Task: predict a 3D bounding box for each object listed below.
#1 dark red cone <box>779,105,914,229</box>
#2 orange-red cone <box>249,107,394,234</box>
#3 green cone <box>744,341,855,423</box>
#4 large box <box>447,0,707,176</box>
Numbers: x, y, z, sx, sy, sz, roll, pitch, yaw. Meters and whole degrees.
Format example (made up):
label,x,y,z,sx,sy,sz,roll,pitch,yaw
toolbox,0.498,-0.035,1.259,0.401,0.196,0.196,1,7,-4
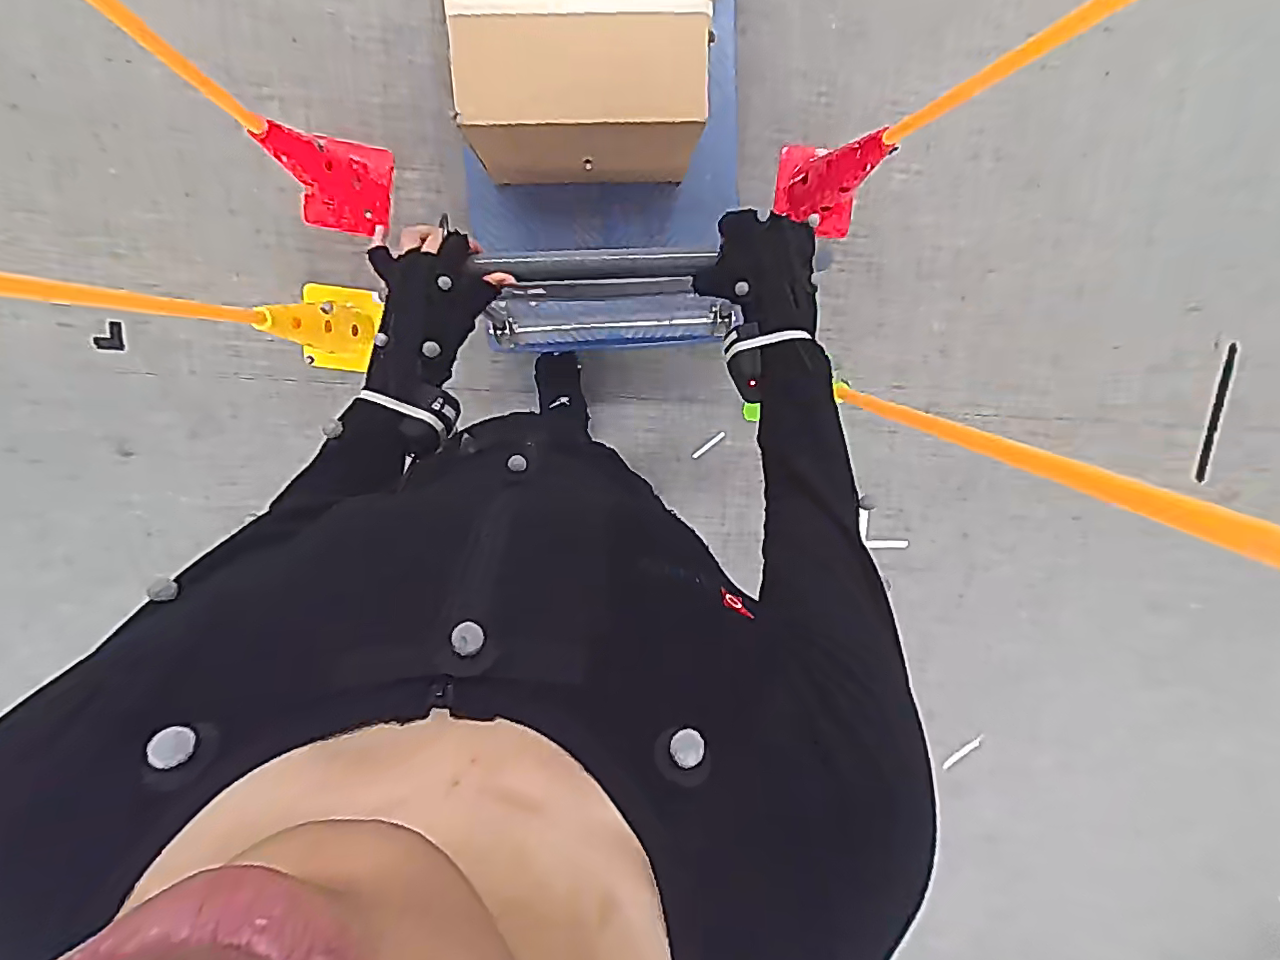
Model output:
label,x,y,z,sx,sy,sz,roll,pitch,yaw
dark red cone,0.456,-0.690,1.158,0.201,0.394,0.202,3,103,-6
orange-red cone,-0.678,-0.668,1.110,0.198,0.360,0.199,10,100,-7
green cone,0.401,-0.223,1.277,0.202,0.368,0.200,7,102,-6
large box,-0.101,-0.763,0.976,0.408,0.320,0.320,-2,103,-2
